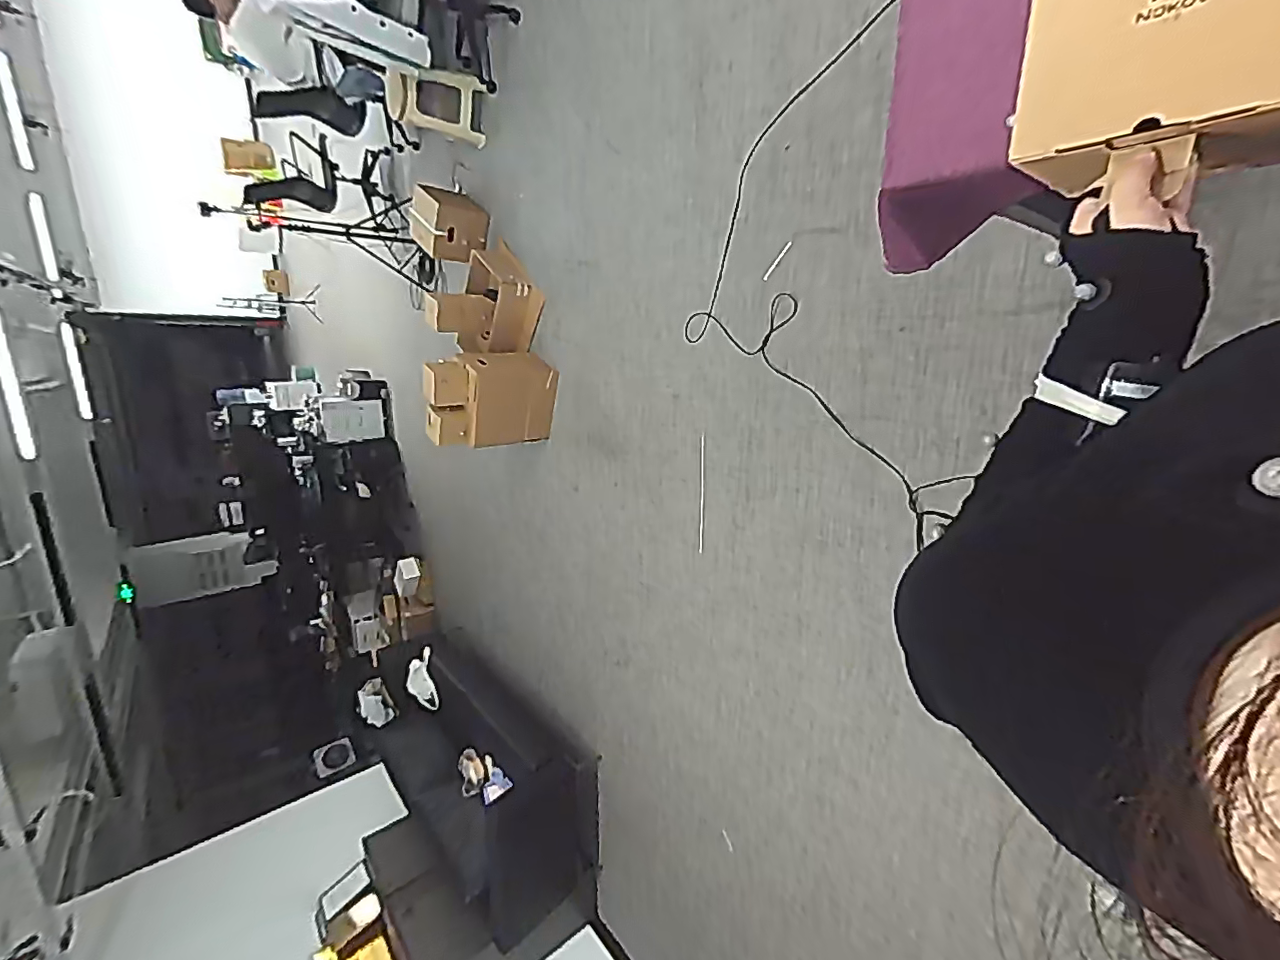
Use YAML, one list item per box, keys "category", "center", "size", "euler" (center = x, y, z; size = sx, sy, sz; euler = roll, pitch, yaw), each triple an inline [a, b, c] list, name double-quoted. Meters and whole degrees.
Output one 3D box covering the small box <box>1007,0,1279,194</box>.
- category: "small box"
  center: [0.416, -0.341, 0.415]
  size: [0.168, 0.176, 0.179]
  euler: [17, 113, 48]
